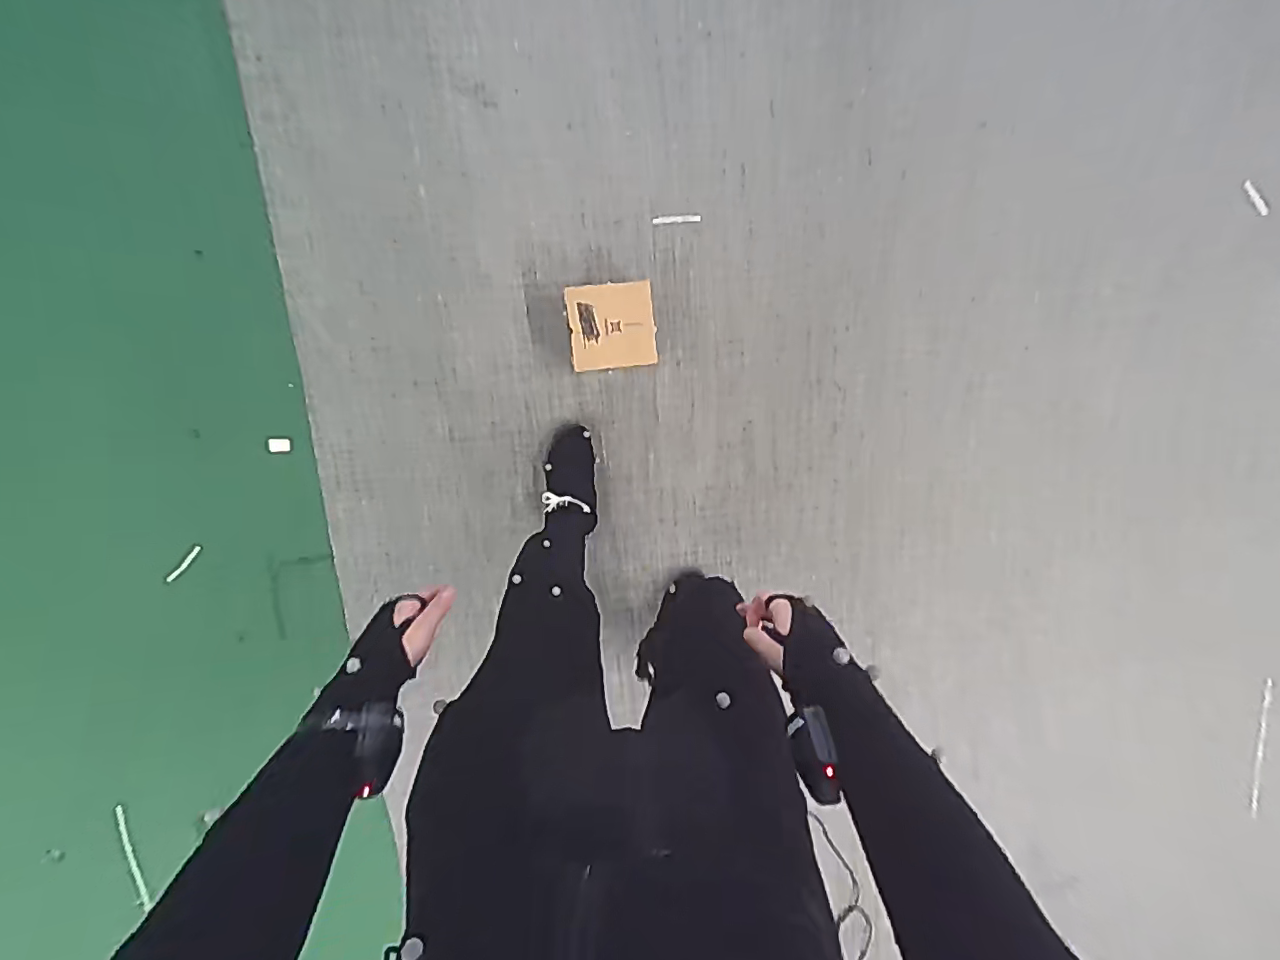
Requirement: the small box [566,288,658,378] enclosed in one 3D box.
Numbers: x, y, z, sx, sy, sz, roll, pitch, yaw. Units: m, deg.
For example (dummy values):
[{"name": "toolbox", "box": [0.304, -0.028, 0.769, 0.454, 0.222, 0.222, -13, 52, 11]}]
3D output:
[{"name": "small box", "box": [-0.062, -0.315, 1.180, 0.179, 0.176, 0.168, -7, 100, -4]}]
